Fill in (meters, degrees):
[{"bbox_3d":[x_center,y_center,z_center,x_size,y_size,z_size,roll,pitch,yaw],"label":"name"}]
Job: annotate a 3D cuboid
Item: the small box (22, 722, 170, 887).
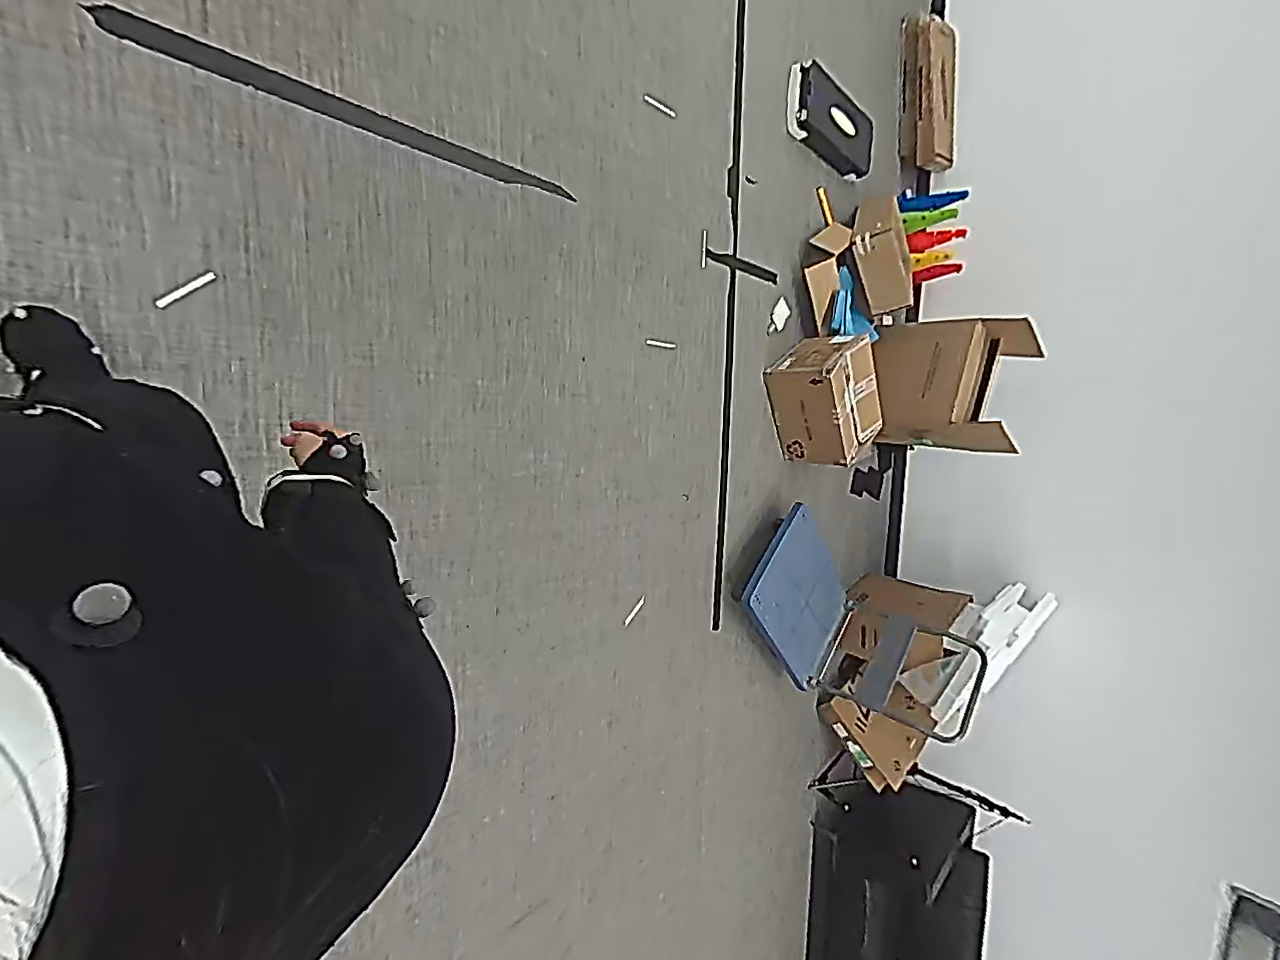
[{"bbox_3d":[-1.005,0.589,1.008,0.179,0.176,0.168,-7,101,-45],"label":"small box"}]
